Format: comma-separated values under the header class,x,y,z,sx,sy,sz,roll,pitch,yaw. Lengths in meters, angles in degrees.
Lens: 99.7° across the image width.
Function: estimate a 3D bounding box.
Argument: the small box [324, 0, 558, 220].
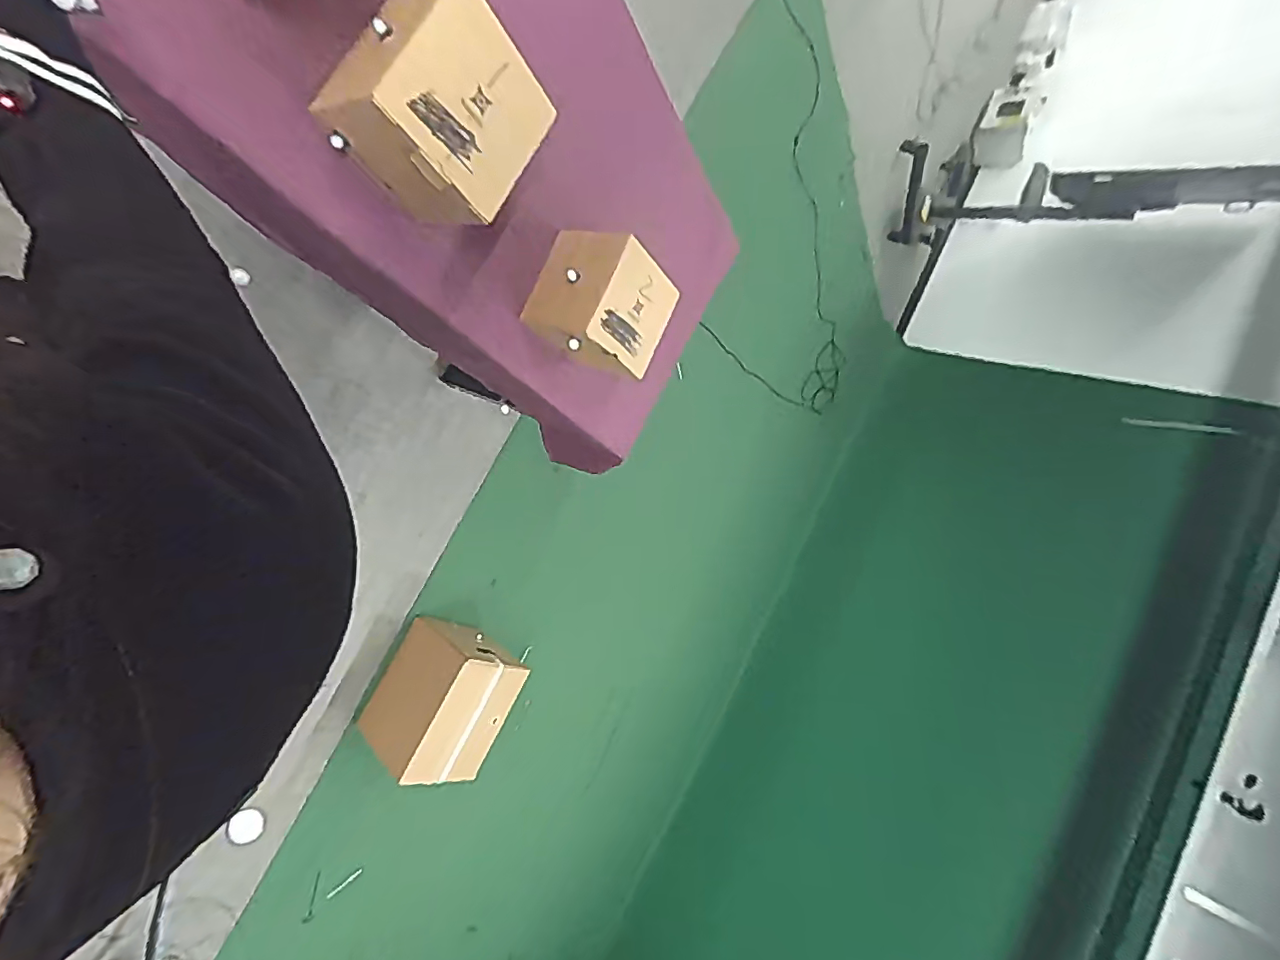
class,x,y,z,sx,sy,sz,roll,pitch,yaw
small box,-0.238,-0.438,0.641,0.168,0.176,0.179,38,77,-53
